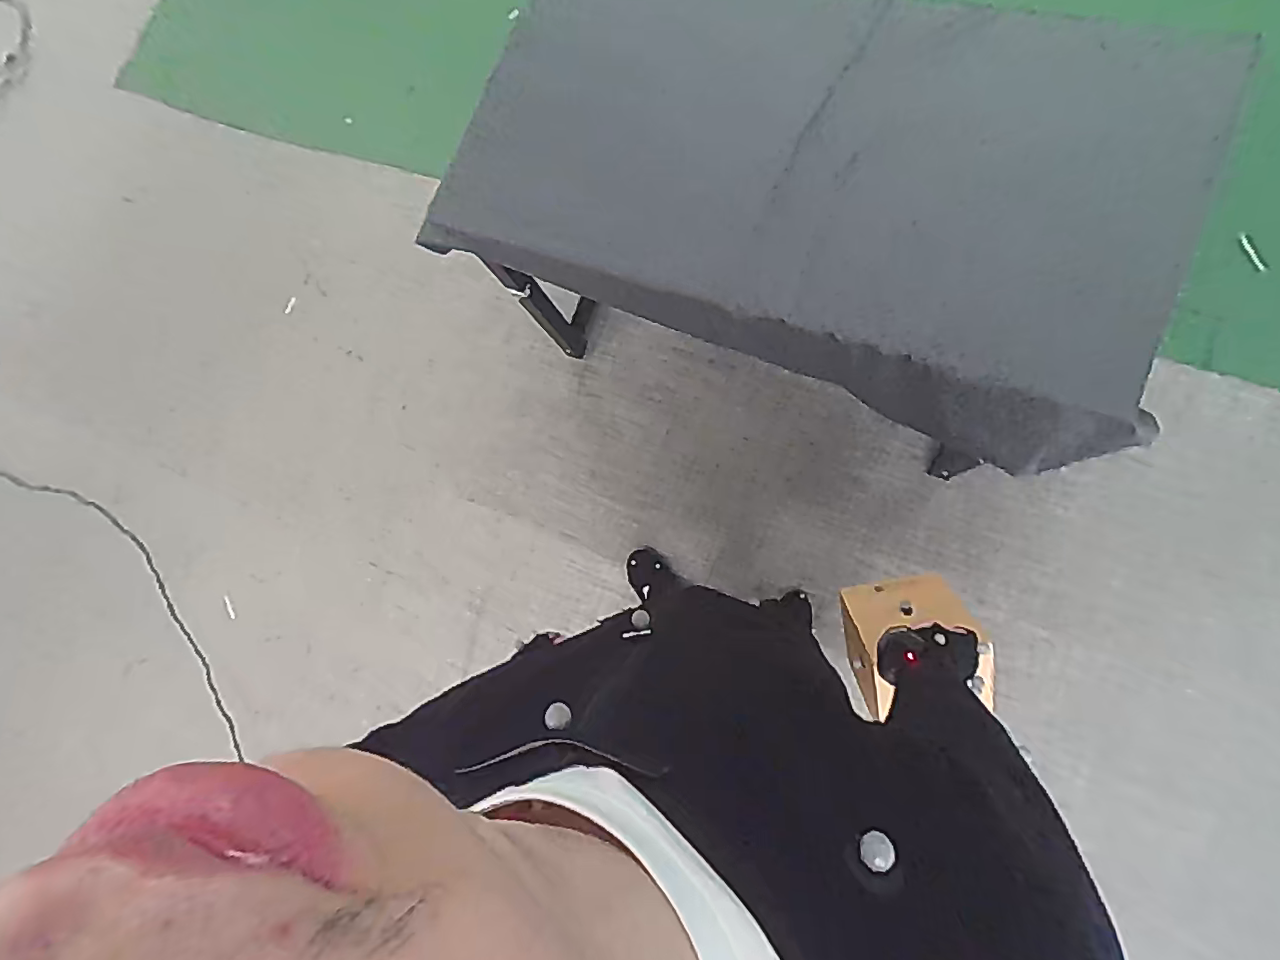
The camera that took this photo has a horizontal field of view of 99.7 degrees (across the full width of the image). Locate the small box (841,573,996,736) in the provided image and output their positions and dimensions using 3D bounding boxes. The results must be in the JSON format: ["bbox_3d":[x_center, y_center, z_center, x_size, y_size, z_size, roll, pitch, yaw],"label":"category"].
[{"bbox_3d":[0.436,0.269,0.866,0.168,0.176,0.179,-16,116,8],"label":"small box"}]
